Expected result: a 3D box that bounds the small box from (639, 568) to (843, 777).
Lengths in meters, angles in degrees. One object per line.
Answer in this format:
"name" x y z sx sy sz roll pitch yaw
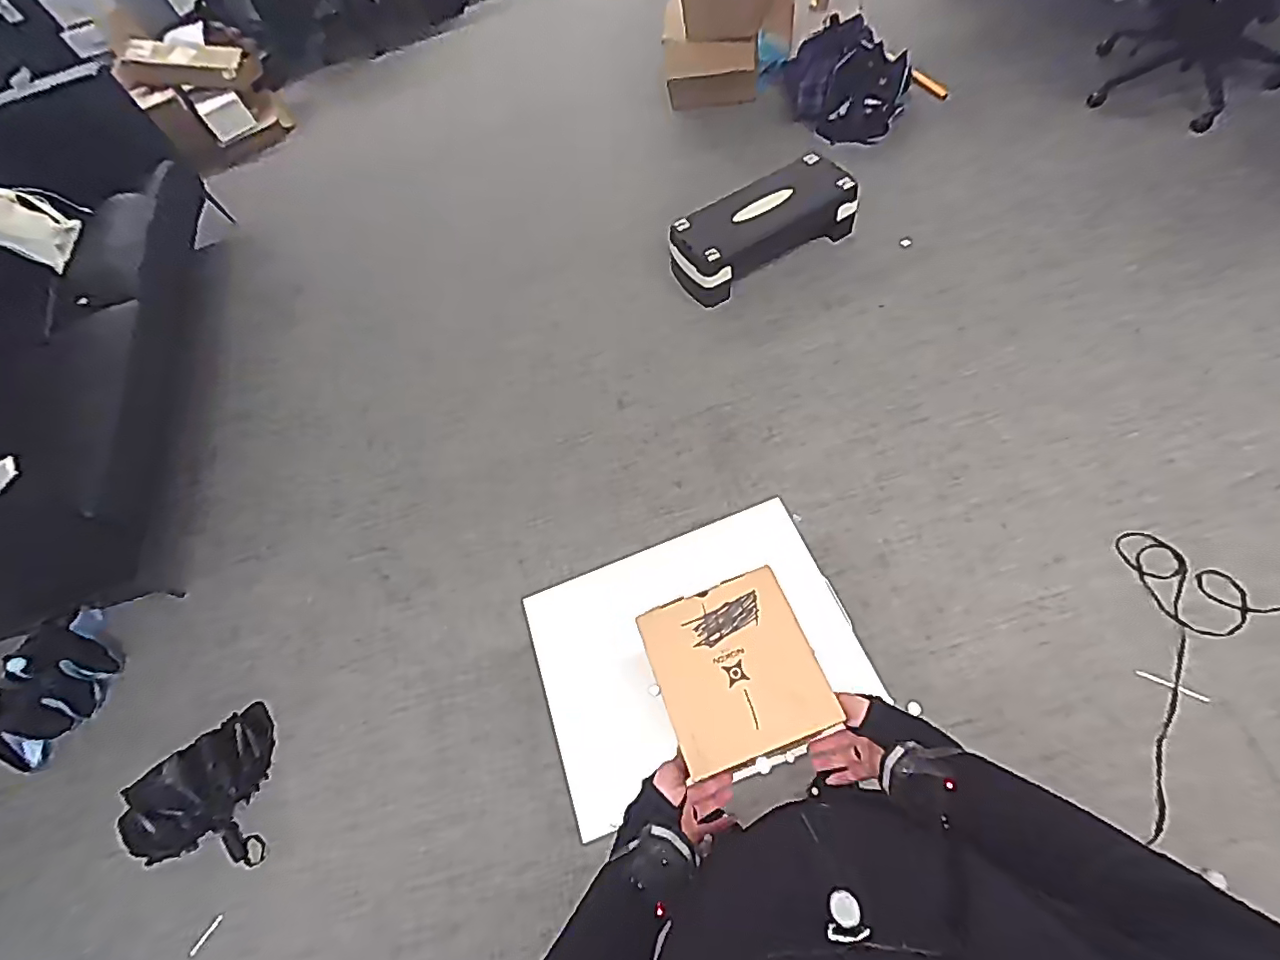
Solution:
"small box" 0.110 0.234 0.642 0.168 0.176 0.179 -21 61 -2
